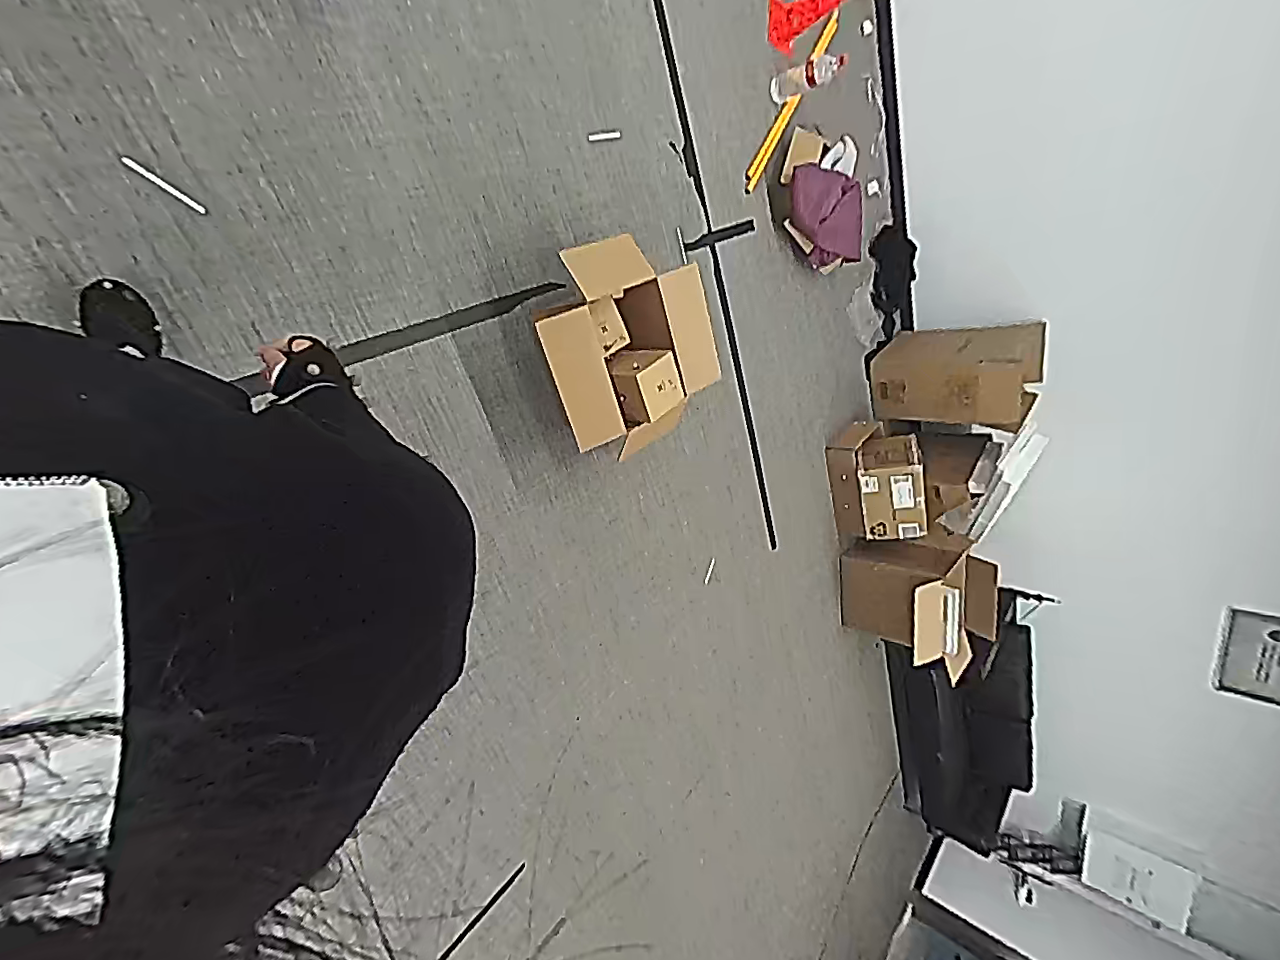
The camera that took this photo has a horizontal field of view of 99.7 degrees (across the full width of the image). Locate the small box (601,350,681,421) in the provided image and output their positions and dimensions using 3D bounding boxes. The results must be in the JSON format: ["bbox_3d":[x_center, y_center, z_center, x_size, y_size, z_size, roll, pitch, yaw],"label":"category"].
[{"bbox_3d":[-0.003,-0.304,1.731,0.179,0.176,0.168,-41,127,-32],"label":"small box"}]
